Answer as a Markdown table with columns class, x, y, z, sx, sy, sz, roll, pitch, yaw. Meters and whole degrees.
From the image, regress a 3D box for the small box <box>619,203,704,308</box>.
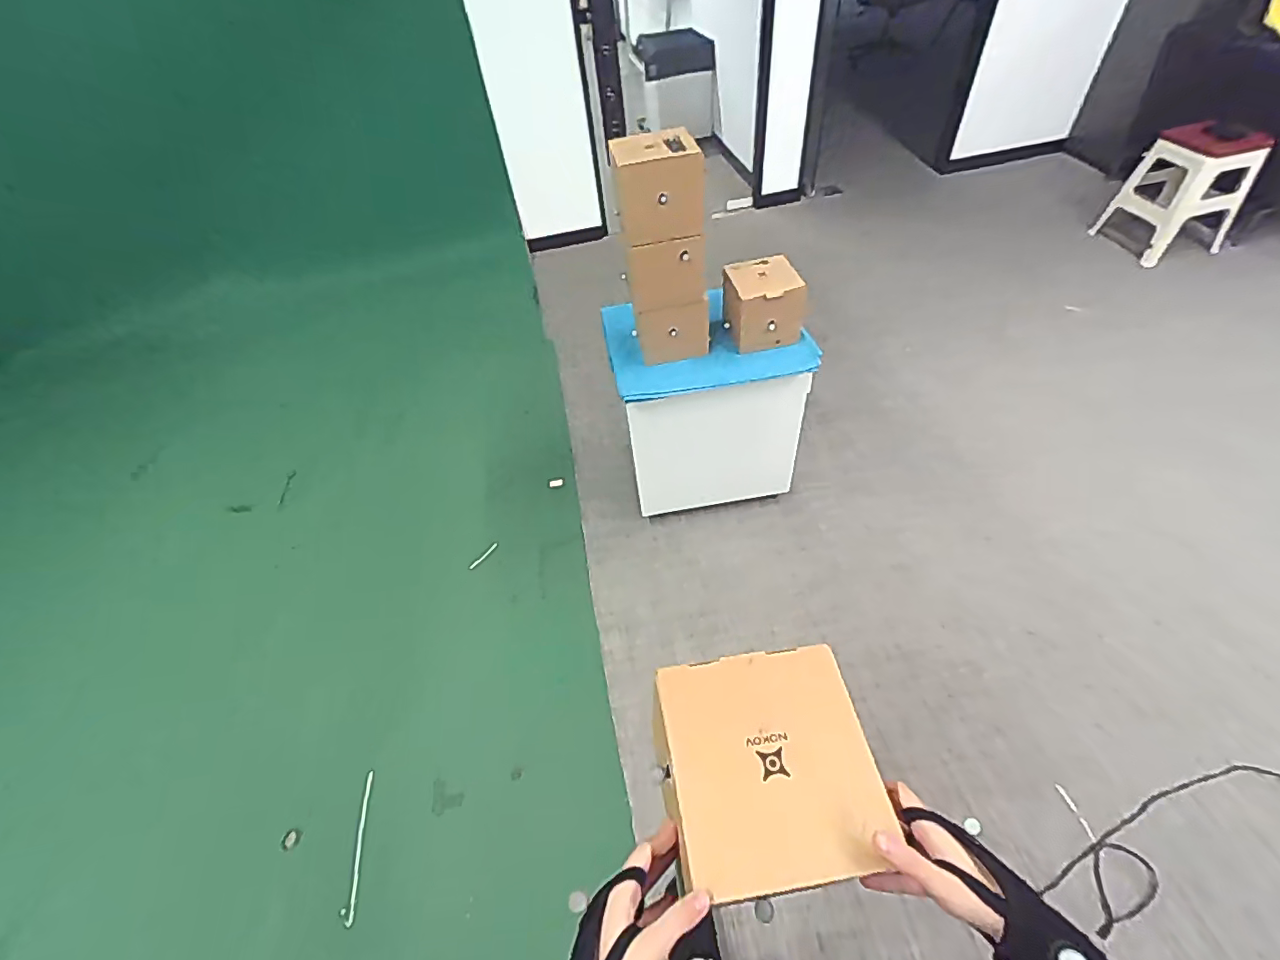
| class | x | y | z | sx | sy | sz | roll | pitch | yaw |
| --- | --- | --- | --- | --- | --- | --- | --- | --- | --- |
| small box | 0.052 | -0.542 | 1.308 | 0.179 | 0.176 | 0.168 | -11 | 48 | -3 |

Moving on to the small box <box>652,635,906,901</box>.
| class | x | y | z | sx | sy | sz | roll | pitch | yaw |
| --- | --- | --- | --- | --- | --- | --- | --- | --- | --- |
| small box | 0.105 | 0.269 | 0.500 | 0.168 | 0.176 | 0.179 | -6 | 49 | -5 |

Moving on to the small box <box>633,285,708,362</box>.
| class | x | y | z | sx | sy | sz | roll | pitch | yaw |
| --- | --- | --- | --- | --- | --- | --- | --- | --- | --- |
| small box | 0.075 | -0.437 | 1.433 | 0.179 | 0.176 | 0.168 | -11 | 49 | -2 |

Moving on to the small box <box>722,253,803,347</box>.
| class | x | y | z | sx | sy | sz | roll | pitch | yaw |
| --- | --- | --- | --- | --- | --- | --- | --- | --- | --- |
| small box | 0.317 | -0.468 | 1.431 | 0.168 | 0.176 | 0.179 | -10 | 49 | -2 |
